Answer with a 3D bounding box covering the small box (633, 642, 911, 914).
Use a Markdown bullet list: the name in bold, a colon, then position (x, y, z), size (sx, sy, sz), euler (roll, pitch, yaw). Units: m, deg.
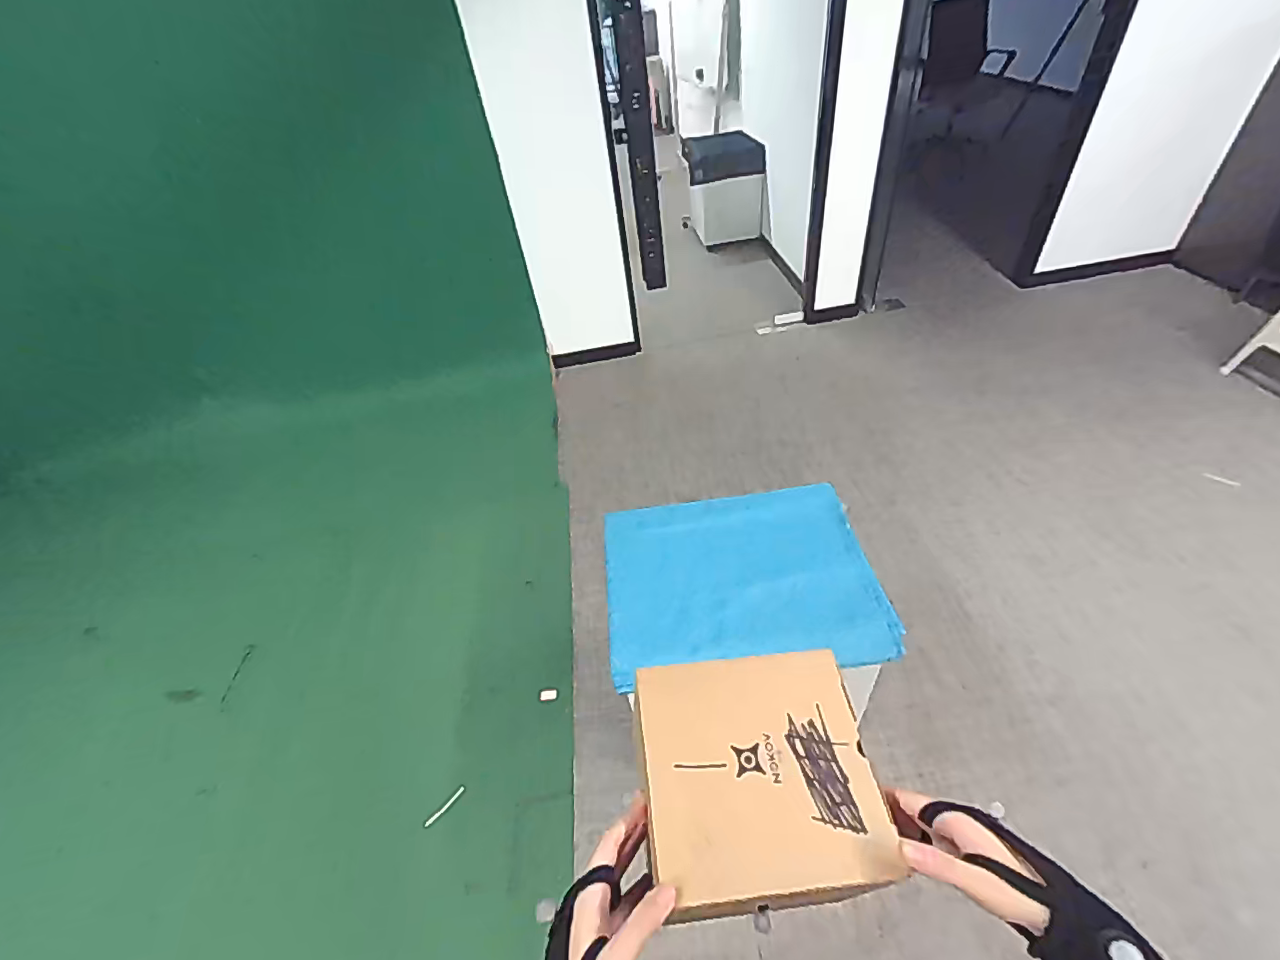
- **small box**: position (0.089, 0.259, 0.470), size (0.179, 0.176, 0.168), euler (-4, 48, -5)
